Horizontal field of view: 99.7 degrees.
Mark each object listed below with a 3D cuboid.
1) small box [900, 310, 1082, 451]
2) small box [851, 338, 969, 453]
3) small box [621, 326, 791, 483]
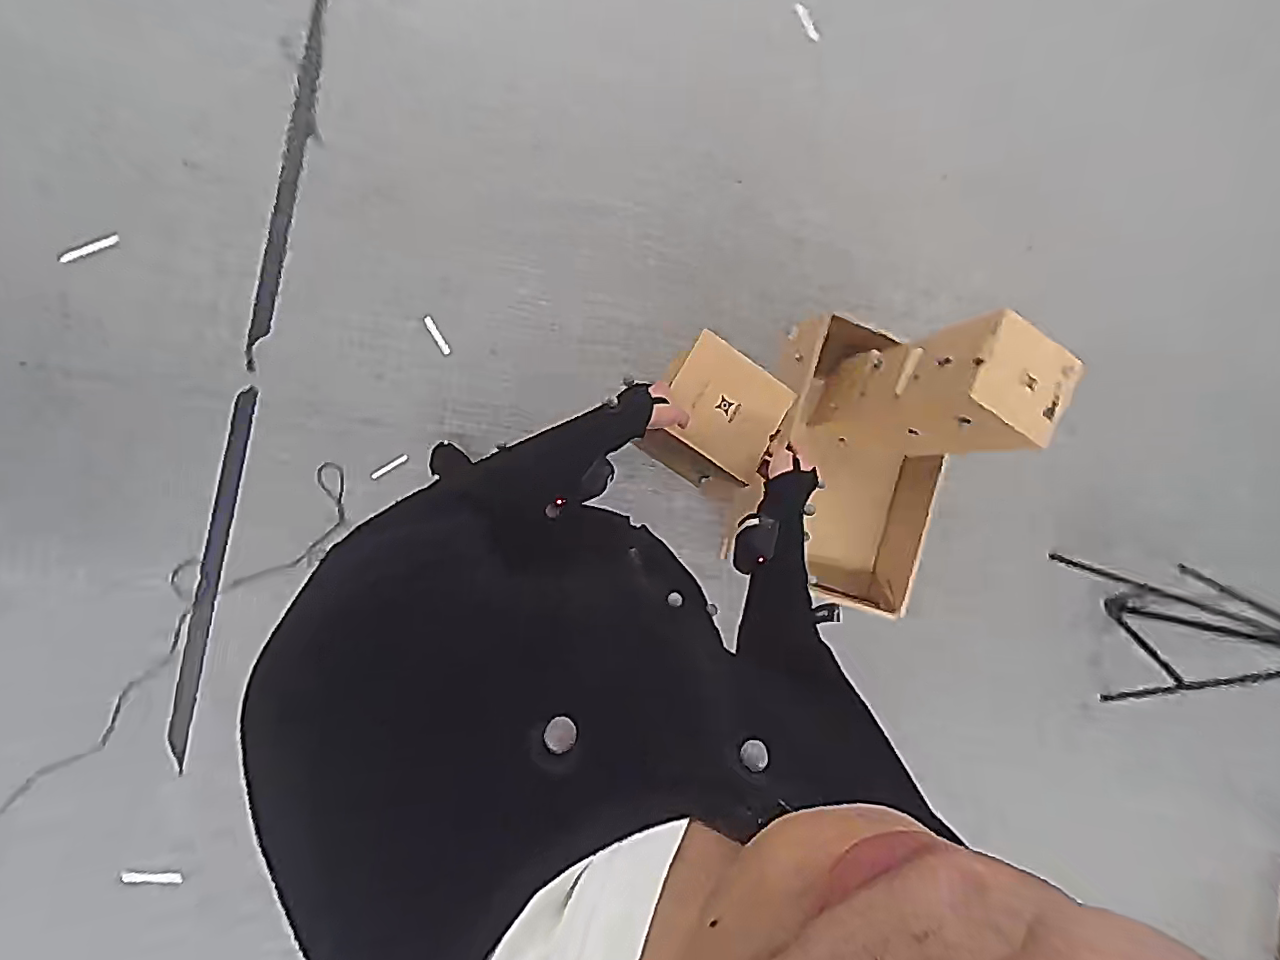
[{"bbox_3d":[0.600,-0.159,0.945,0.179,0.176,0.168,31,84,-10],"label":"small box"},{"bbox_3d":[0.571,-0.160,1.107,0.179,0.176,0.168,27,85,-12],"label":"small box"},{"bbox_3d":[0.096,-0.106,0.851,0.179,0.176,0.168,32,78,-11],"label":"small box"}]
